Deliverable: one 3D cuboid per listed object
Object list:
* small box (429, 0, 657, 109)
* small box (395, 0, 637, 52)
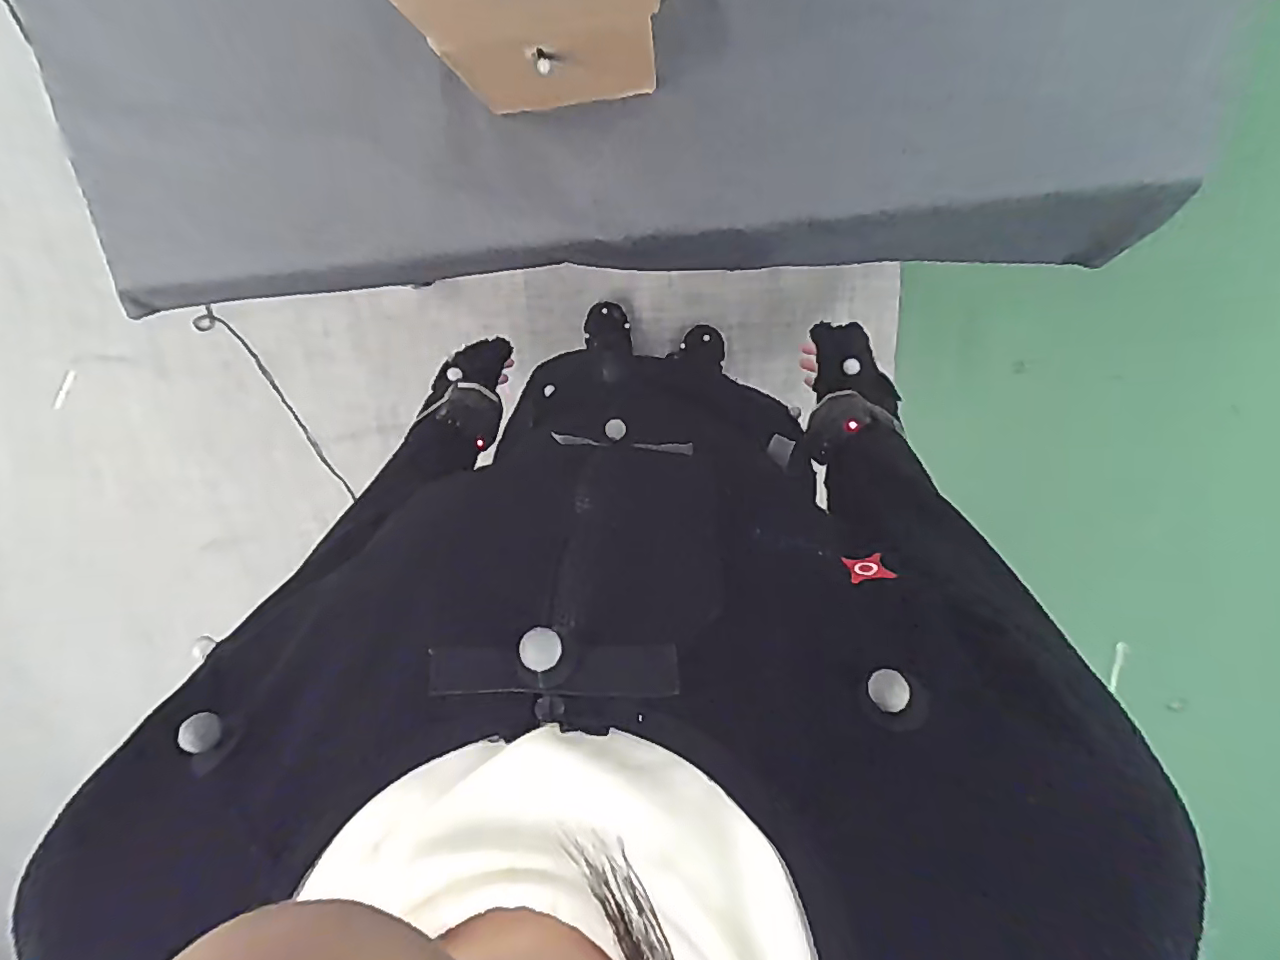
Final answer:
[{"bbox_3d":[-0.081,-0.449,0.469,0.179,0.176,0.168,-4,108,5],"label":"small box"},{"bbox_3d":[-0.085,-0.392,0.315,0.179,0.176,0.168,-8,108,7],"label":"small box"}]
